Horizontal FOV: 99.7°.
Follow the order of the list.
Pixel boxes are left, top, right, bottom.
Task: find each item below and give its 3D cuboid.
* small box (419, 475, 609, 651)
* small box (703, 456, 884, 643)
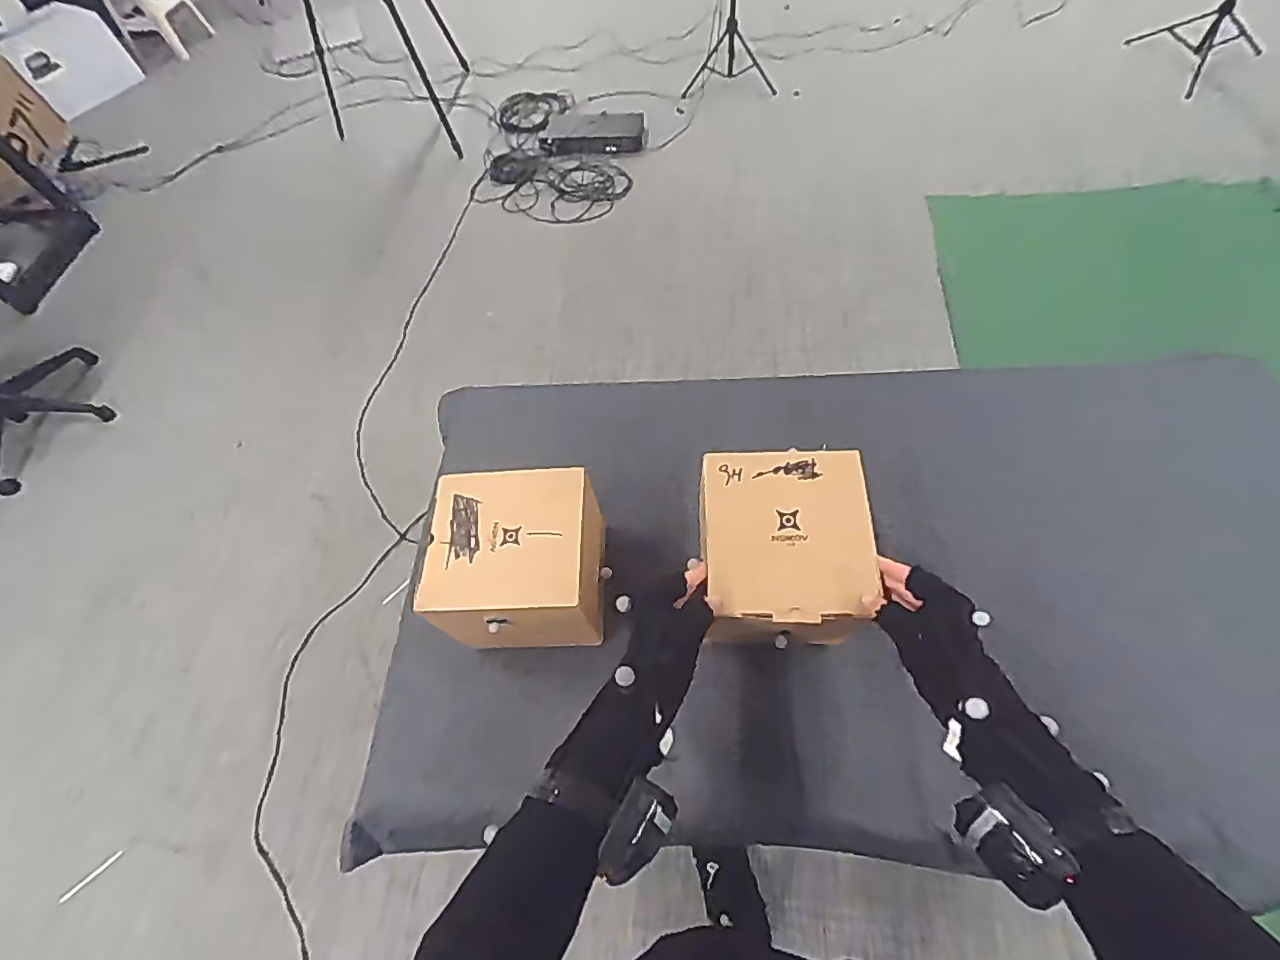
[{"bbox_3d":[-0.138,0.109,0.664,0.179,0.176,0.168,-3,60,4],"label":"small box"},{"bbox_3d":[0.157,0.088,0.617,0.168,0.176,0.179,-1,66,5],"label":"small box"}]
